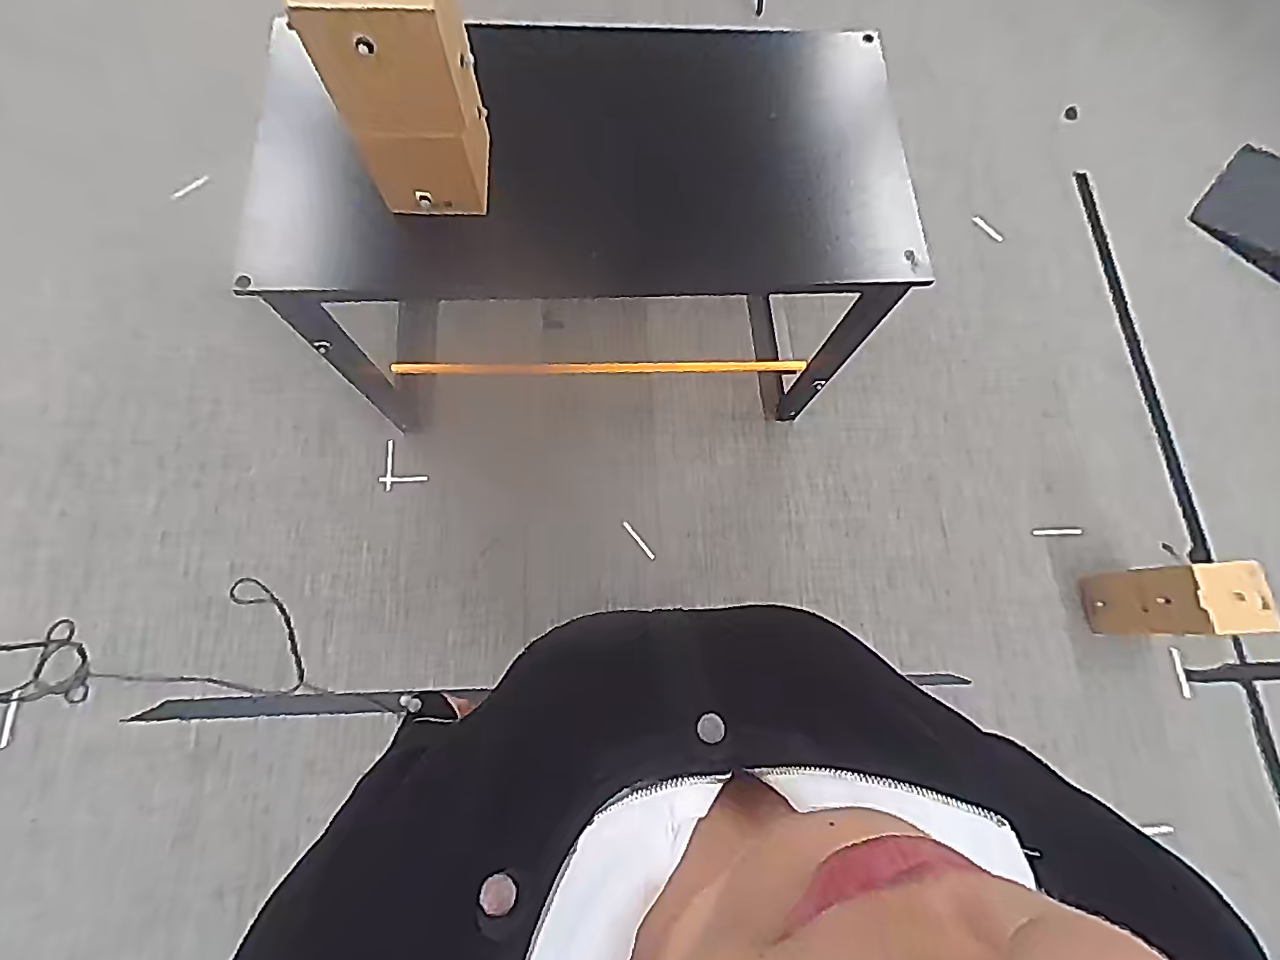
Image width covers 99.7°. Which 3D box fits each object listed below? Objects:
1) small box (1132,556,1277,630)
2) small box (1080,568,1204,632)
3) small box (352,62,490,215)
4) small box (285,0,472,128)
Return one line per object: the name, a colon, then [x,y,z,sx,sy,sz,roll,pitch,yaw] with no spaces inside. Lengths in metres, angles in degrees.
small box: [1.391,0.286,1.351,0.179,0.176,0.168,-3,75,-3]
small box: [1.393,0.335,1.508,0.179,0.176,0.168,-1,75,-3]
small box: [-0.350,-0.573,0.897,0.168,0.176,0.179,-2,76,-3]
small box: [-0.341,-0.615,0.738,0.179,0.176,0.168,-3,75,-4]
